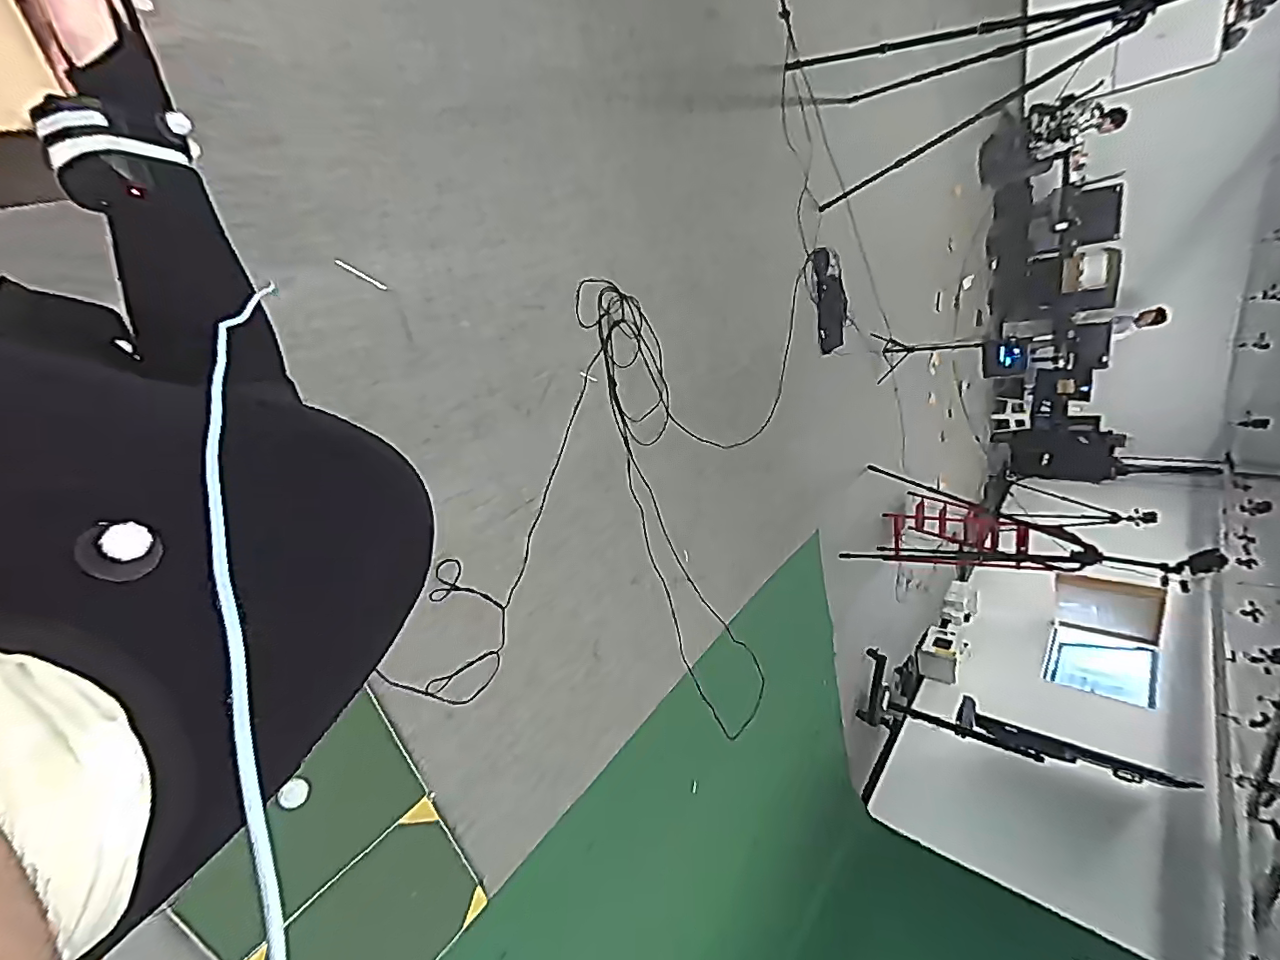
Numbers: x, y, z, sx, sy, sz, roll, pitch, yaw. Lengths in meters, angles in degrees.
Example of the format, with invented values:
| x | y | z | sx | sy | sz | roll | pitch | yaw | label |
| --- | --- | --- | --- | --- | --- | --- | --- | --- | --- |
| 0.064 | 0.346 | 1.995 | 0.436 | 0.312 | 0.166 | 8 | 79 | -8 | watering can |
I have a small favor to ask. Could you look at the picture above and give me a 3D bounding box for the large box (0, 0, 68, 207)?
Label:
| x | y | z | sx | sy | sz | roll | pitch | yaw | label |
| --- | --- | --- | --- | --- | --- | --- | --- | --- | --- |
| -0.709 | -0.333 | 0.333 | 0.408 | 0.320 | 0.320 | -36 | 124 | -36 | large box |
